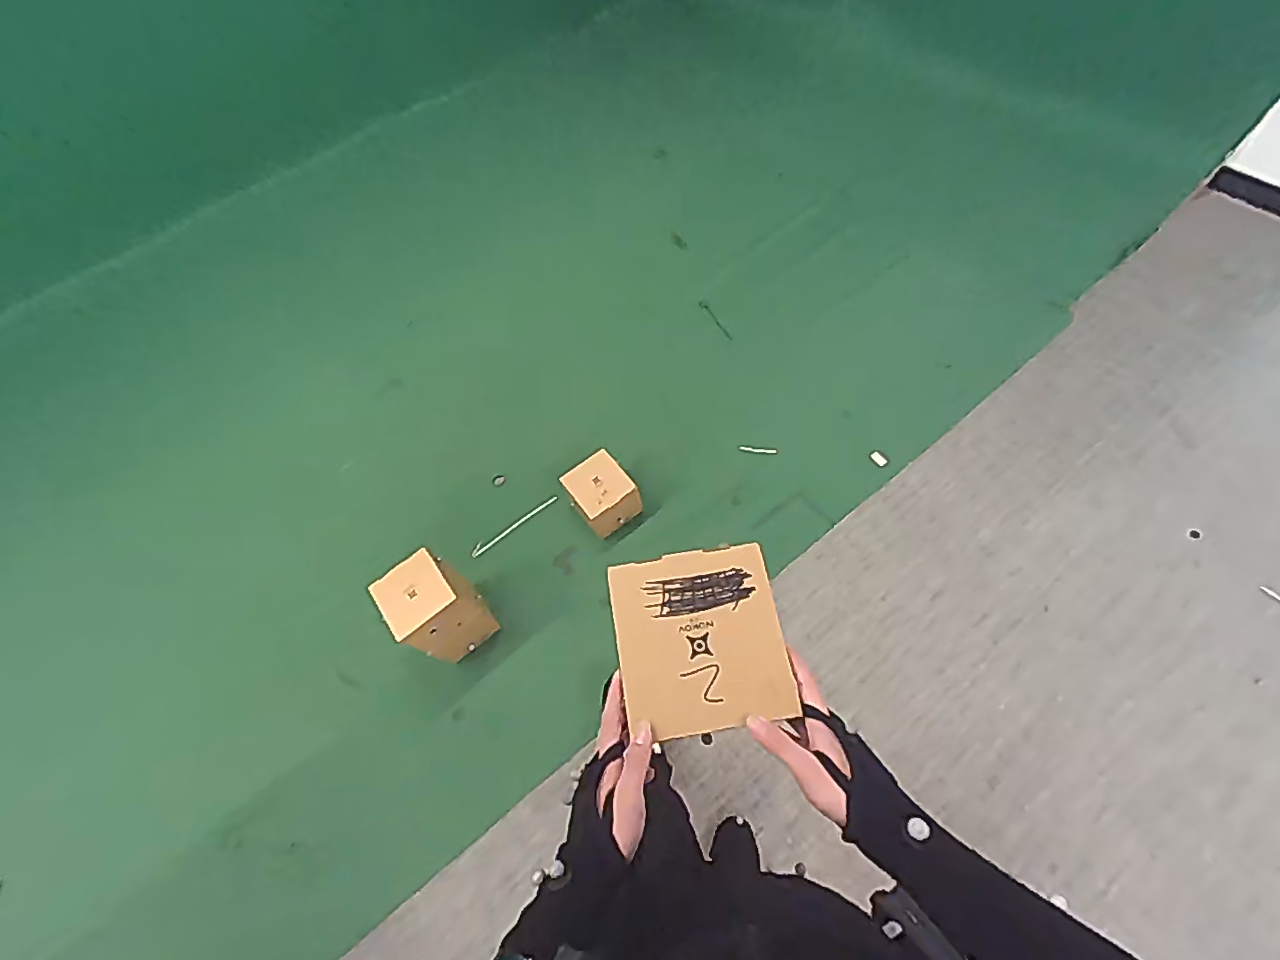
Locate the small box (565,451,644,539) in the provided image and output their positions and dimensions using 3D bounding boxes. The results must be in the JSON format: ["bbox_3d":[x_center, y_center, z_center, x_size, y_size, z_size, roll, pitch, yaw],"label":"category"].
[{"bbox_3d":[-0.104,0.051,1.653,0.168,0.176,0.179,-35,64,-11],"label":"small box"}]

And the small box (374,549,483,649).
[{"bbox_3d":[-0.533,0.313,1.387,0.168,0.176,0.179,-38,64,-12],"label":"small box"}]

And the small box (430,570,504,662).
[{"bbox_3d":[-0.517,0.389,1.528,0.168,0.176,0.179,-37,65,-12],"label":"small box"}]
